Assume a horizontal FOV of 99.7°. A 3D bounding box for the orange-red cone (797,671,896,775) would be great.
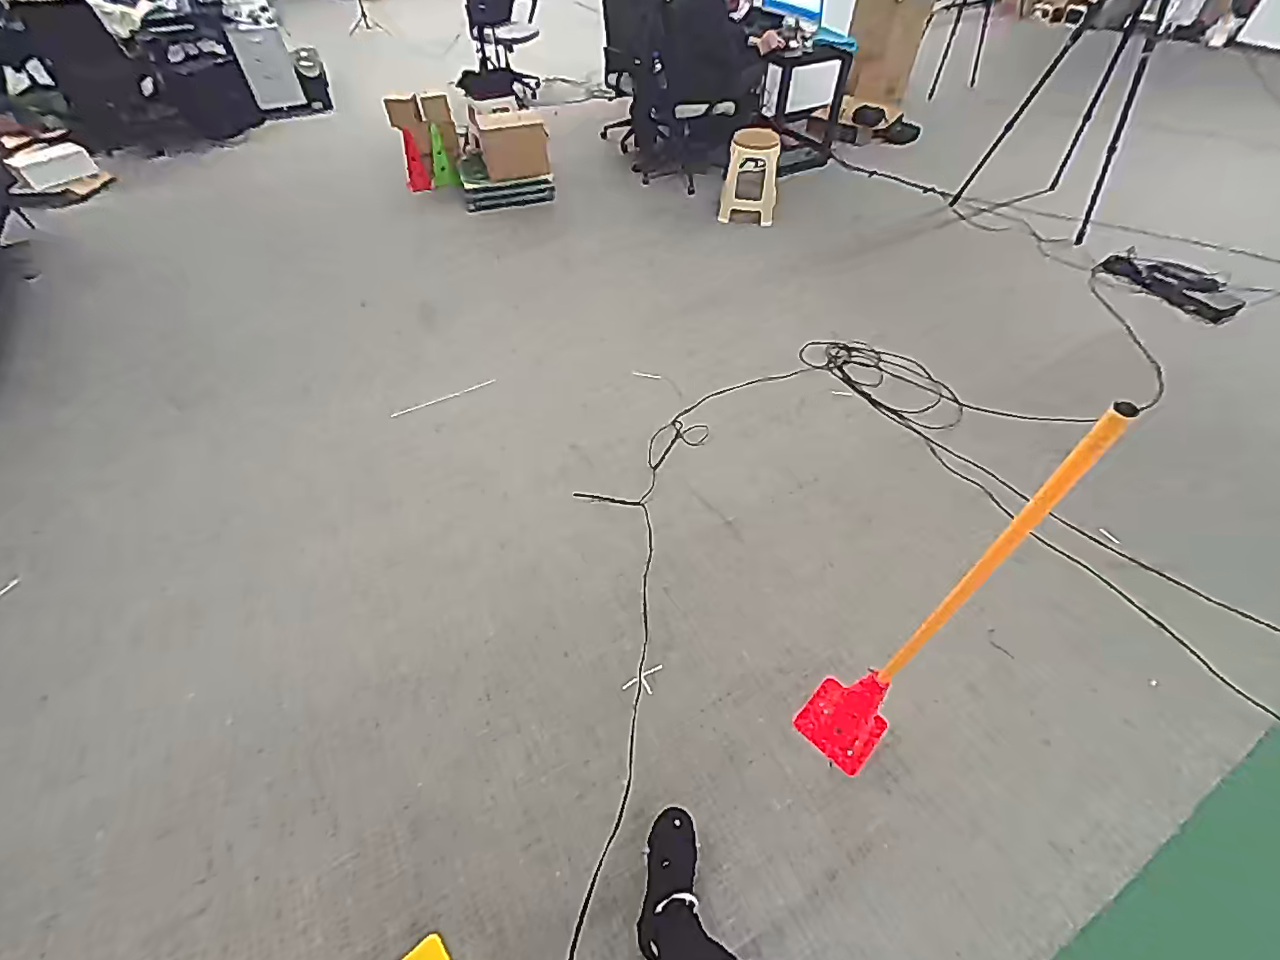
[{"bbox_3d":[0.567,0.570,1.375,0.199,0.360,0.198,-36,59,-28],"label":"orange-red cone"}]
